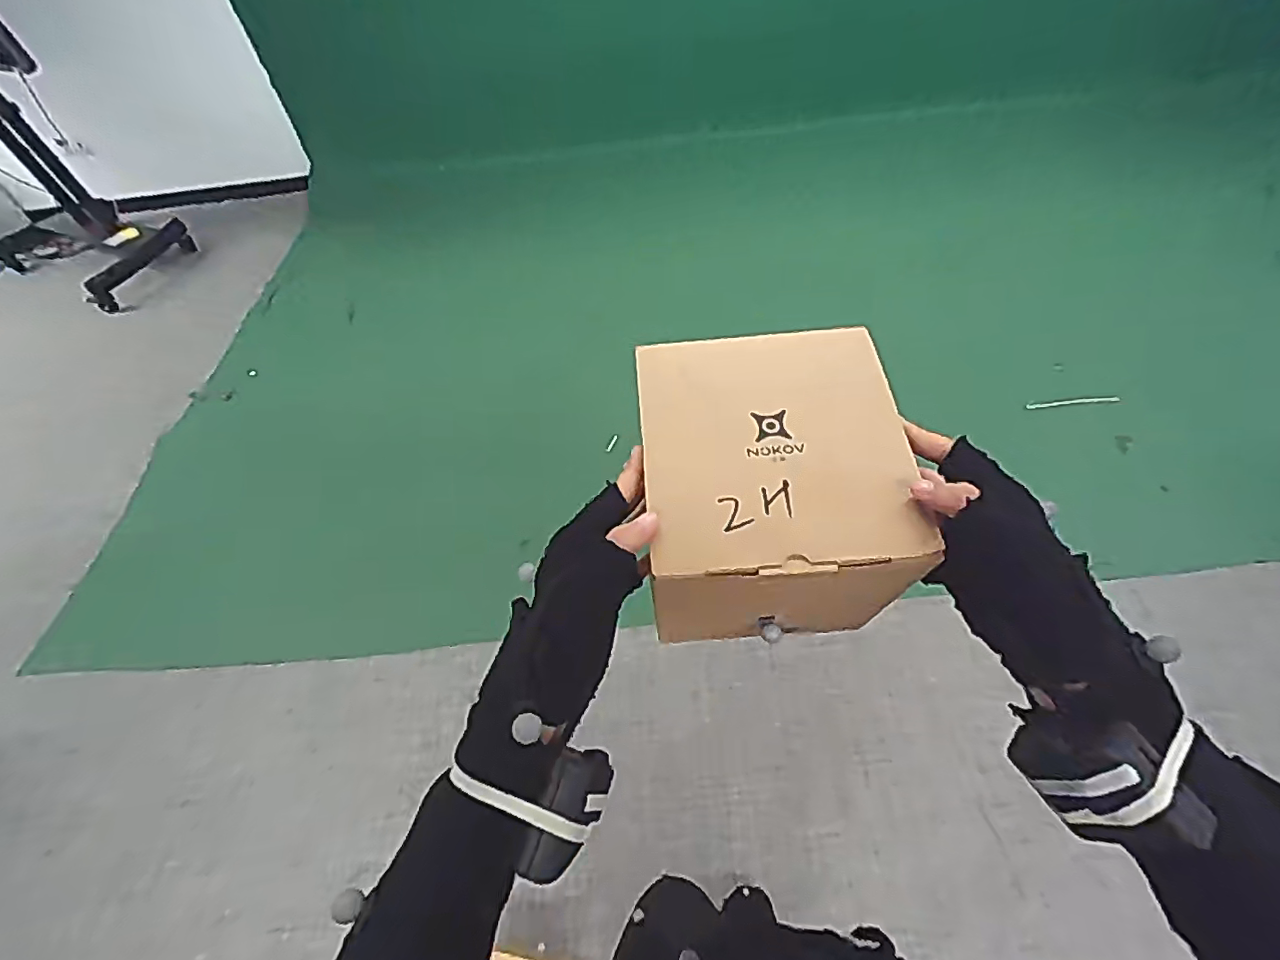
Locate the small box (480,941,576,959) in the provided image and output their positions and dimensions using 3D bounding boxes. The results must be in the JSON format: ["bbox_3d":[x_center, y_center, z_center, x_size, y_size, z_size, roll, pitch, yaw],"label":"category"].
[{"bbox_3d":[-0.219,0.986,1.001,0.168,0.176,0.179,6,52,9],"label":"small box"}]
